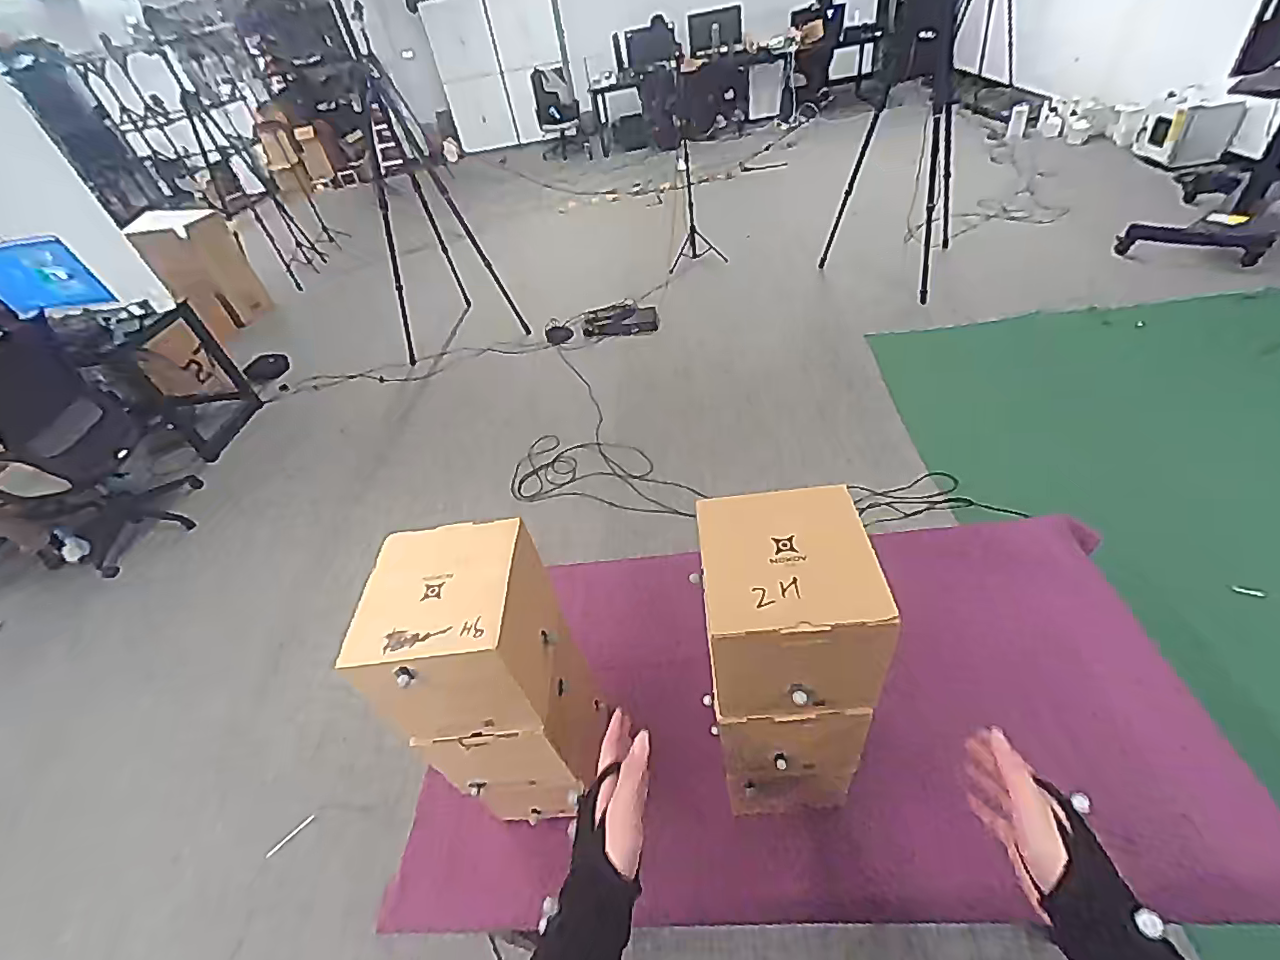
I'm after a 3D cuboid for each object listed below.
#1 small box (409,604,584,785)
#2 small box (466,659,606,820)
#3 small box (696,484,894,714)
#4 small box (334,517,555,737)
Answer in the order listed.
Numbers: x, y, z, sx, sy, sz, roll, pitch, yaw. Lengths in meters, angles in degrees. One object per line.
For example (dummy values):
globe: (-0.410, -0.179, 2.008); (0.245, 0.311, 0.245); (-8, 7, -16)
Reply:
small box: (-0.177, 0.294, 0.732); (0.168, 0.176, 0.179); (-8, 41, 6)
small box: (-0.151, 0.407, 0.848); (0.168, 0.176, 0.179); (-8, 43, 6)
small box: (0.152, 0.129, 0.588); (0.168, 0.176, 0.179); (-7, 43, 7)
small box: (-0.203, 0.170, 0.627); (0.168, 0.176, 0.179); (-9, 41, 7)
